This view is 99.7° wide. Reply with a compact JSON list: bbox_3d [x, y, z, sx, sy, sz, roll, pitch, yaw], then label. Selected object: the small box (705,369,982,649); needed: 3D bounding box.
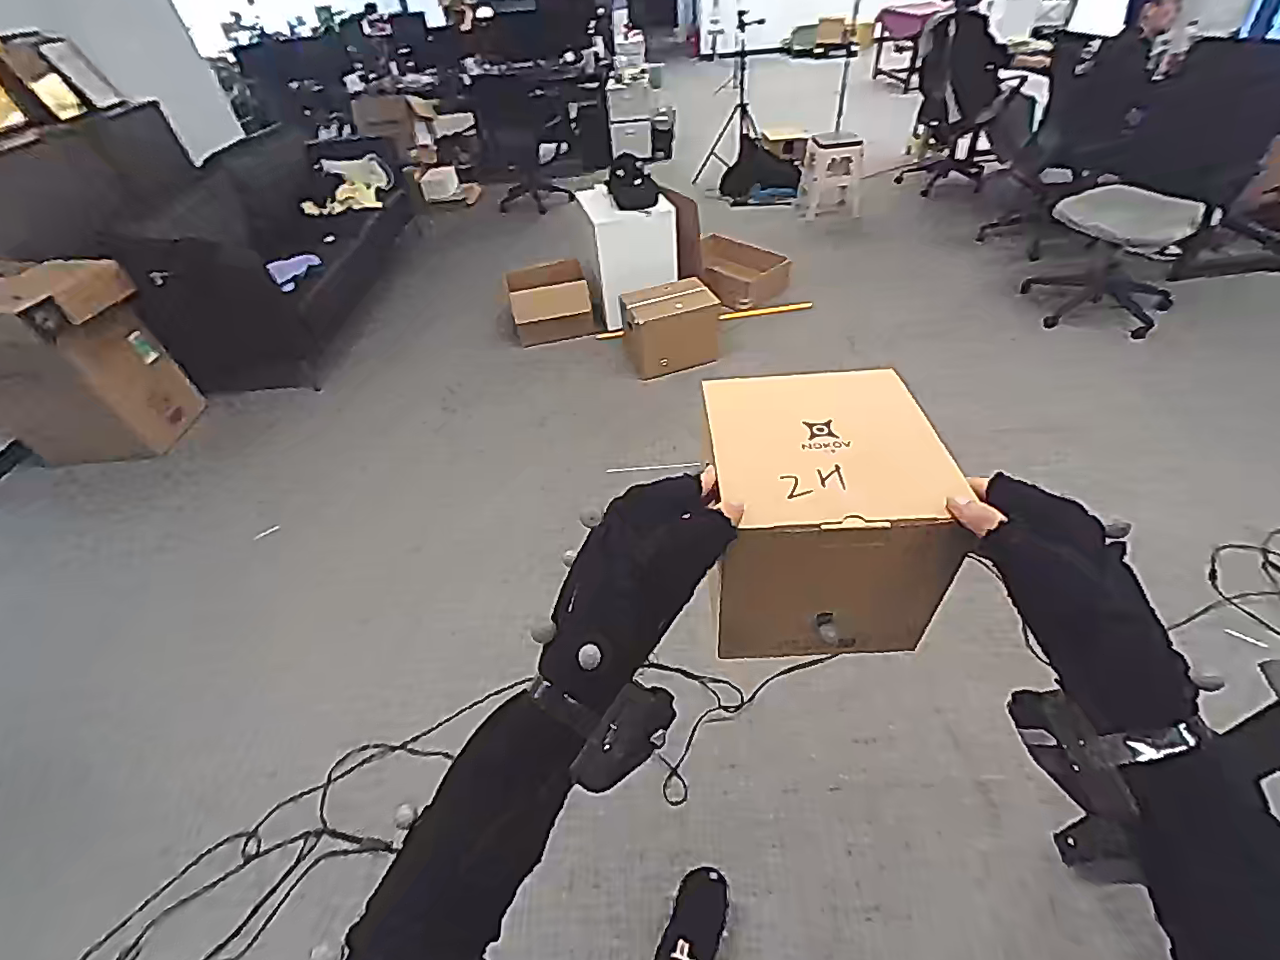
[{"bbox_3d":[0.144,0.024,0.464,0.168,0.176,0.179,-3,43,3],"label":"small box"}]
